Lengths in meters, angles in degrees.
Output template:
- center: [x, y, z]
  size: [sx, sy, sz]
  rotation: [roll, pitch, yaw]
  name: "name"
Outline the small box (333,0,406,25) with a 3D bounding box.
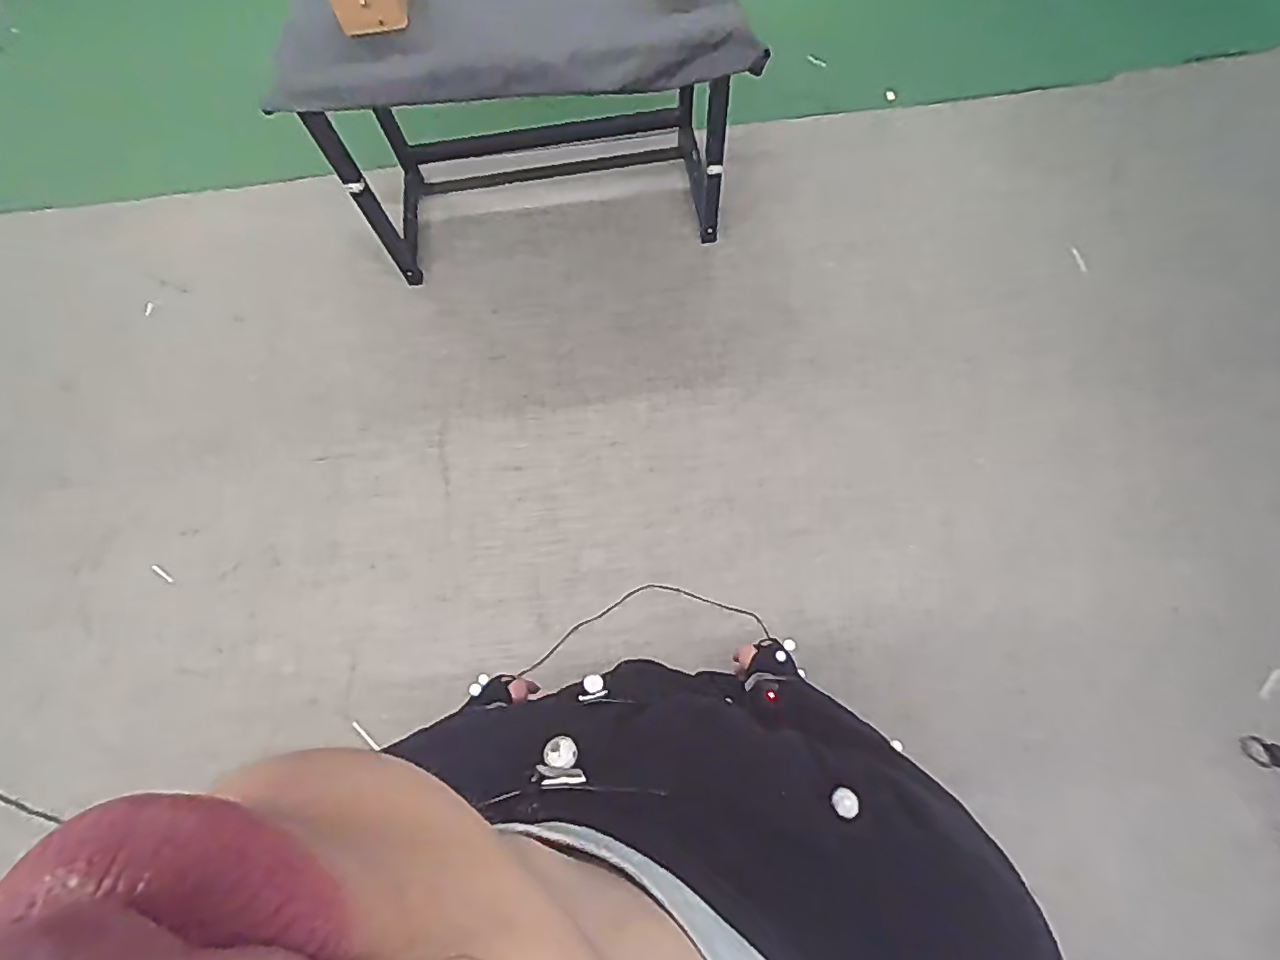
- center: [-0.715, -1.309, 1.386]
  size: [0.168, 0.176, 0.179]
  rotation: [-9, 70, -1]
  name: "small box"
